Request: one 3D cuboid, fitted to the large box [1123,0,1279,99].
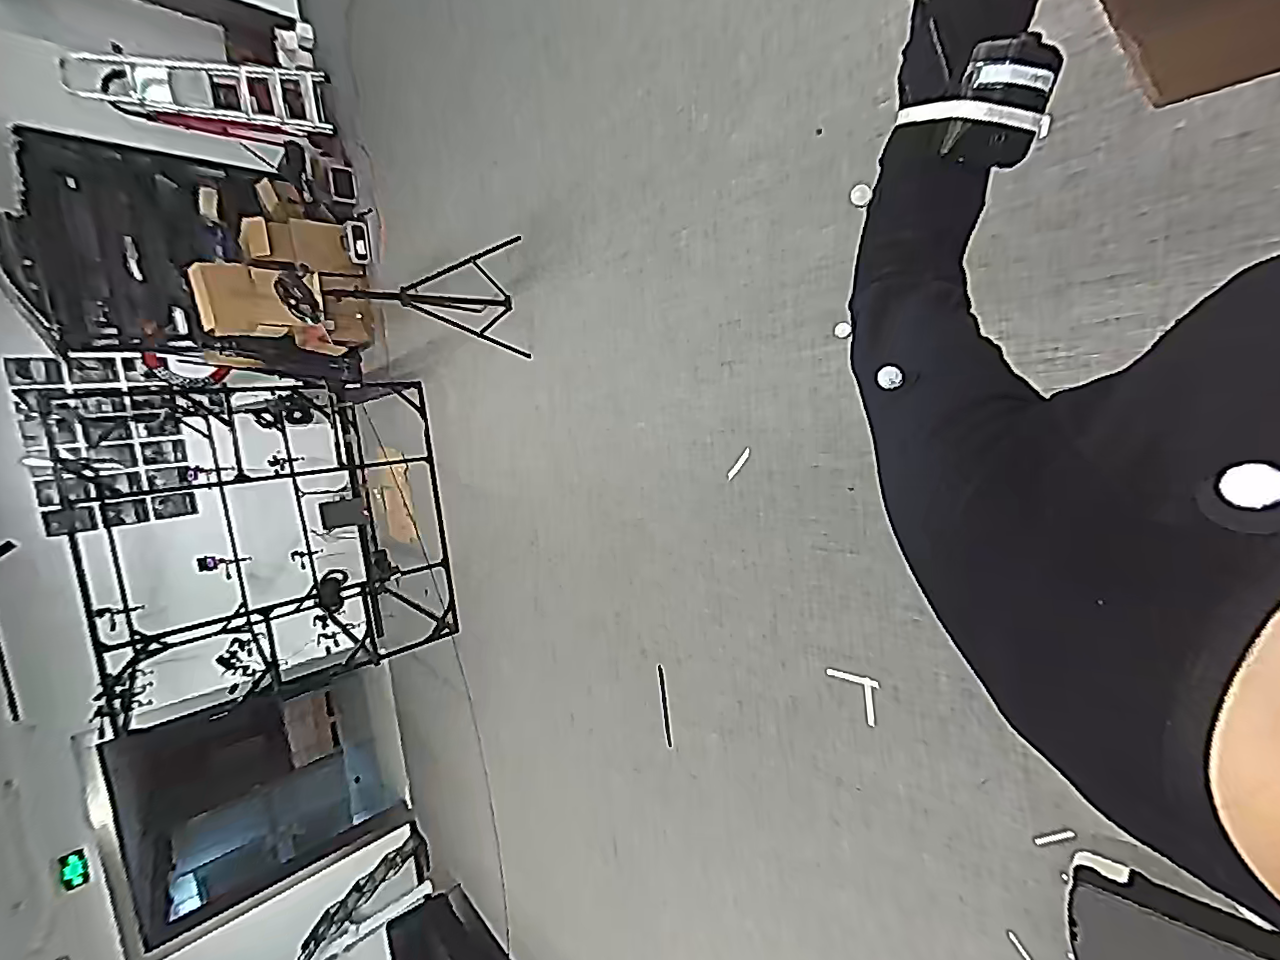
[{"bbox_3d":[0.492,-0.464,0.240,0.408,0.320,0.320,5,105,47],"label":"large box"}]
